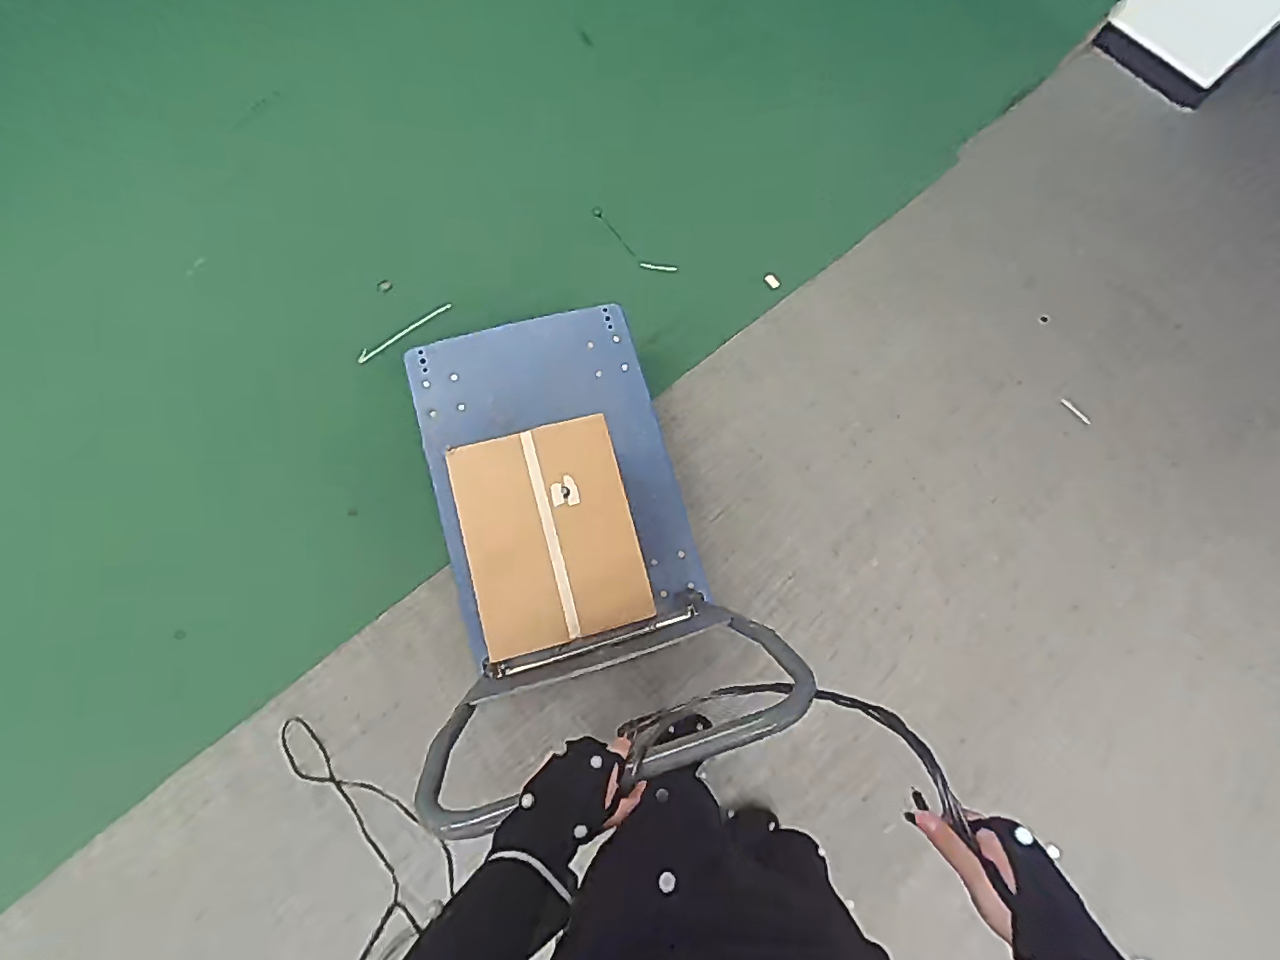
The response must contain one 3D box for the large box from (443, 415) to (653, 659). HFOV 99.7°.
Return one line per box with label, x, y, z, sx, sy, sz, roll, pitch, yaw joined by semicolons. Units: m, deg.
large box;-0.184;0.123;1.158;0.320;0.320;0.408;-14;81;-8
